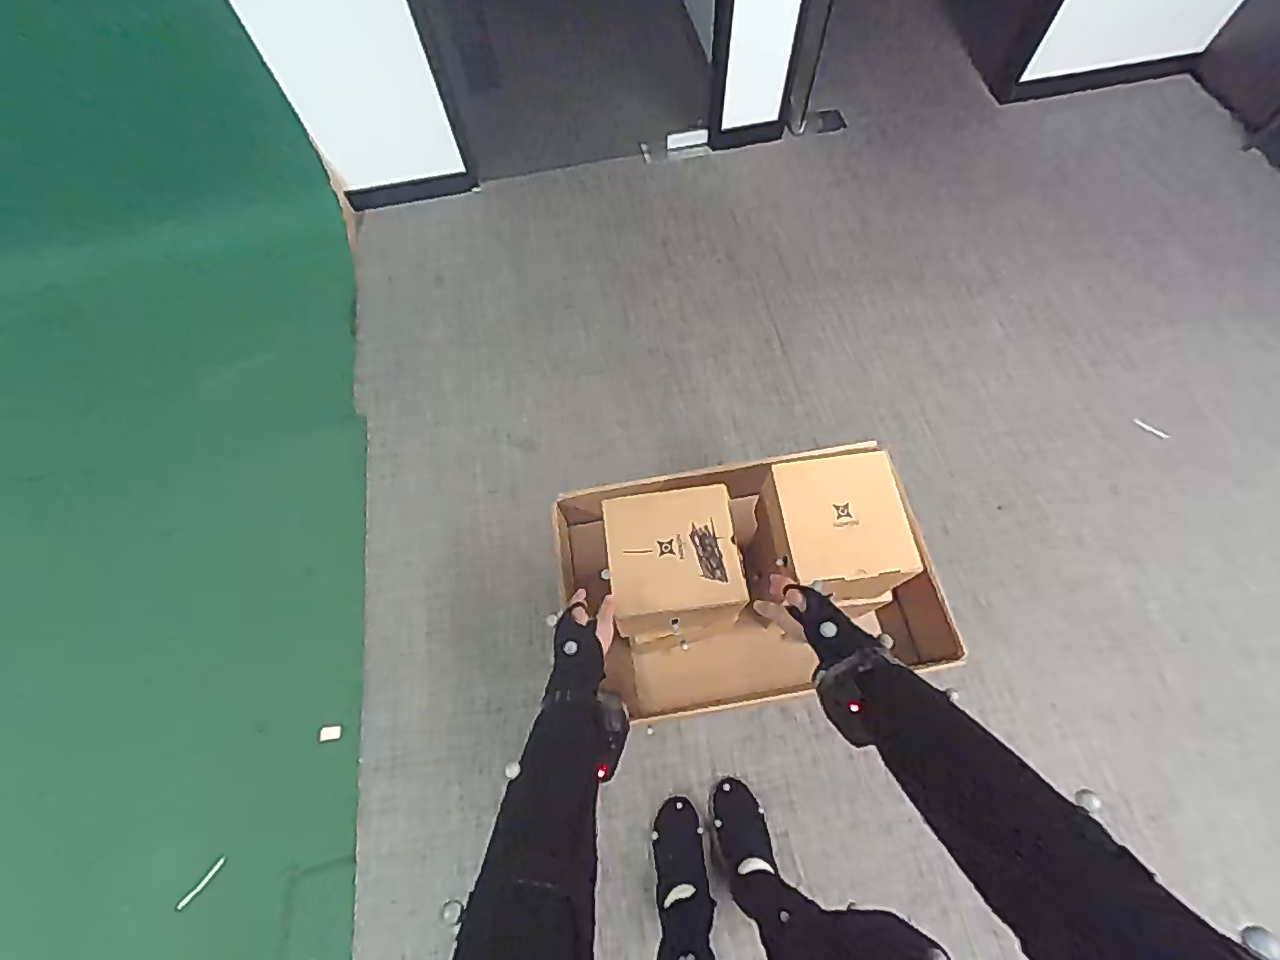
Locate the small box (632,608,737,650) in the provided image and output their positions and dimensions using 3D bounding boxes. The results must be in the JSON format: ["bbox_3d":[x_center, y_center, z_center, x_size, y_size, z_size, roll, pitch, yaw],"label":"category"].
[{"bbox_3d":[0.055,0.182,0.938,0.168,0.176,0.179,-13,67,-4],"label":"small box"}]

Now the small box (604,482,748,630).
[{"bbox_3d":[0.045,0.117,0.788,0.179,0.176,0.168,-7,66,-1],"label":"small box"}]

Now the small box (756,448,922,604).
[{"bbox_3d":[0.277,0.074,0.802,0.168,0.176,0.179,-7,66,0],"label":"small box"}]
